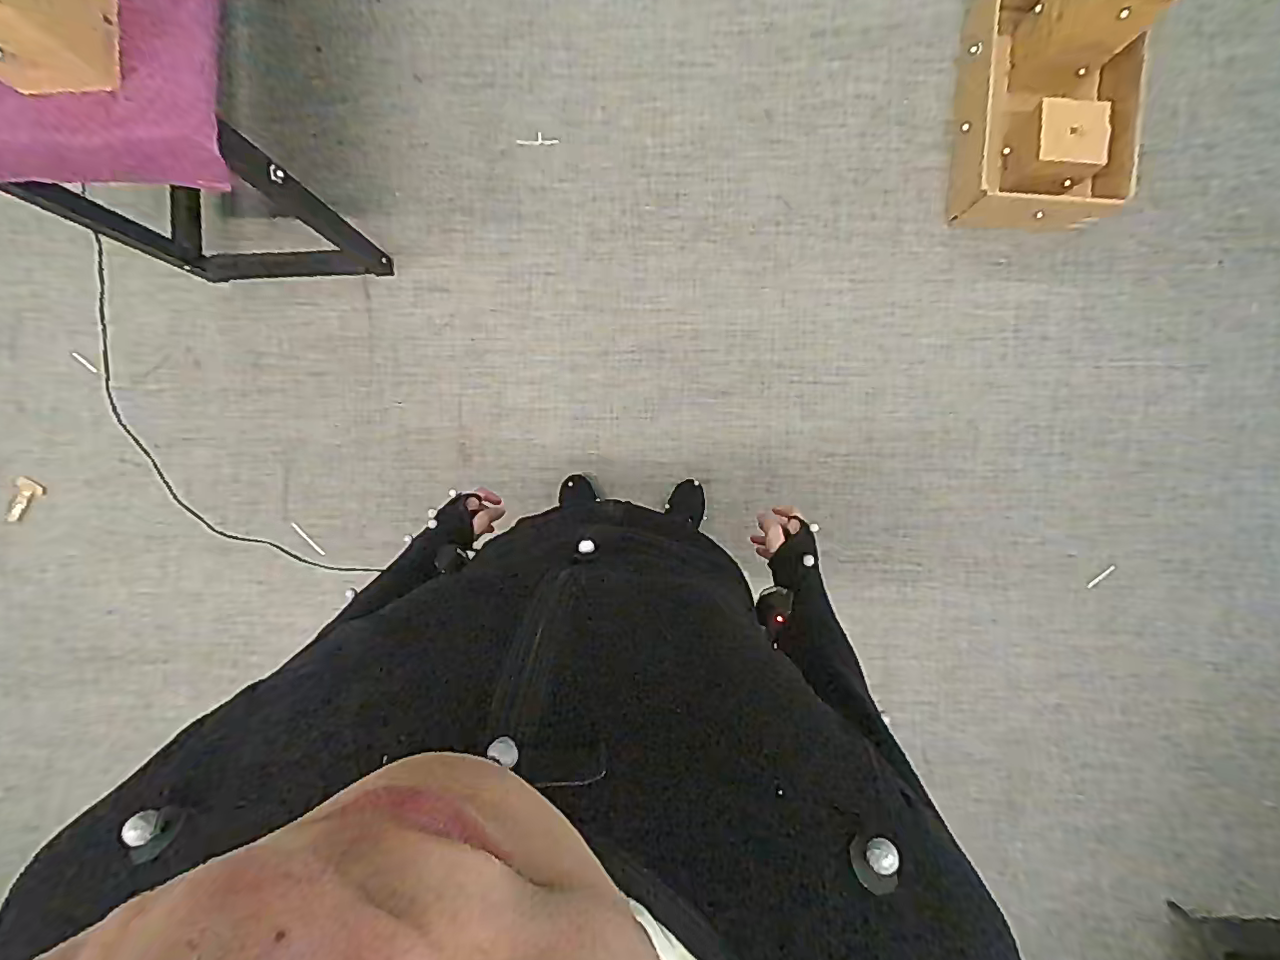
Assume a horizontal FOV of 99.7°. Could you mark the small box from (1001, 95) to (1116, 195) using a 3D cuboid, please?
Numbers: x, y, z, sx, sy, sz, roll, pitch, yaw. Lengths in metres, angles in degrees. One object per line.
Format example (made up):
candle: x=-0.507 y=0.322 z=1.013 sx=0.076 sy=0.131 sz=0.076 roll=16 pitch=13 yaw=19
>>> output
small box: x=1.121 y=-0.896 z=1.459 sx=0.179 sy=0.176 sz=0.168 roll=4 pitch=90 yaw=2

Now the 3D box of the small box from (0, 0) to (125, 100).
small box: x=-0.976 y=-0.735 z=0.851 sx=0.179 sy=0.176 sz=0.168 roll=-2 pitch=91 yaw=2

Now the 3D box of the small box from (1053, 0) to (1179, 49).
small box: x=1.145 y=-1.178 z=1.292 sx=0.179 sy=0.176 sz=0.168 roll=5 pitch=92 yaw=1
